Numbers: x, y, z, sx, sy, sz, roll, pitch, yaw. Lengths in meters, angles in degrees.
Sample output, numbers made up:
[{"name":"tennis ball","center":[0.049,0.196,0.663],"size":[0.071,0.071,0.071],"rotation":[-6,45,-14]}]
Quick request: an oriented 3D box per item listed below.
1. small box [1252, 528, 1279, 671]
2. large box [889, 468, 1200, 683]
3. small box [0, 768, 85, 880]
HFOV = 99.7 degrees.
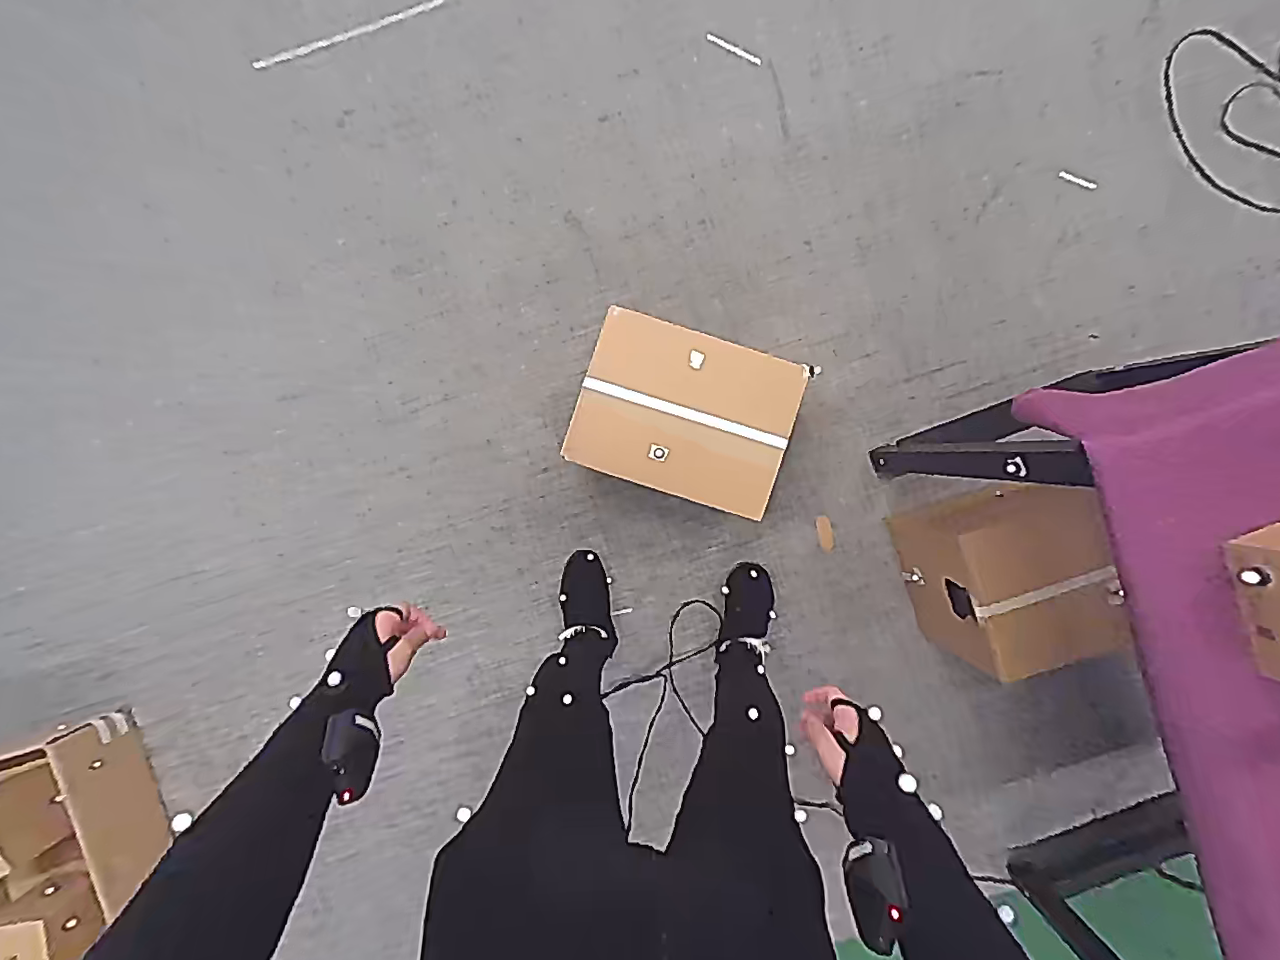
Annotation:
[{"name":"small box","center":[0.761,0.121,0.518],"size":[0.179,0.176,0.168],"rotation":[-19,93,-1]},{"name":"large box","center":[0.844,0.181,1.185],"size":[0.408,0.320,0.320],"rotation":[-19,93,0]},{"name":"small box","center":[-1.451,0.792,1.232],"size":[0.168,0.176,0.179],"rotation":[-22,93,0]}]
